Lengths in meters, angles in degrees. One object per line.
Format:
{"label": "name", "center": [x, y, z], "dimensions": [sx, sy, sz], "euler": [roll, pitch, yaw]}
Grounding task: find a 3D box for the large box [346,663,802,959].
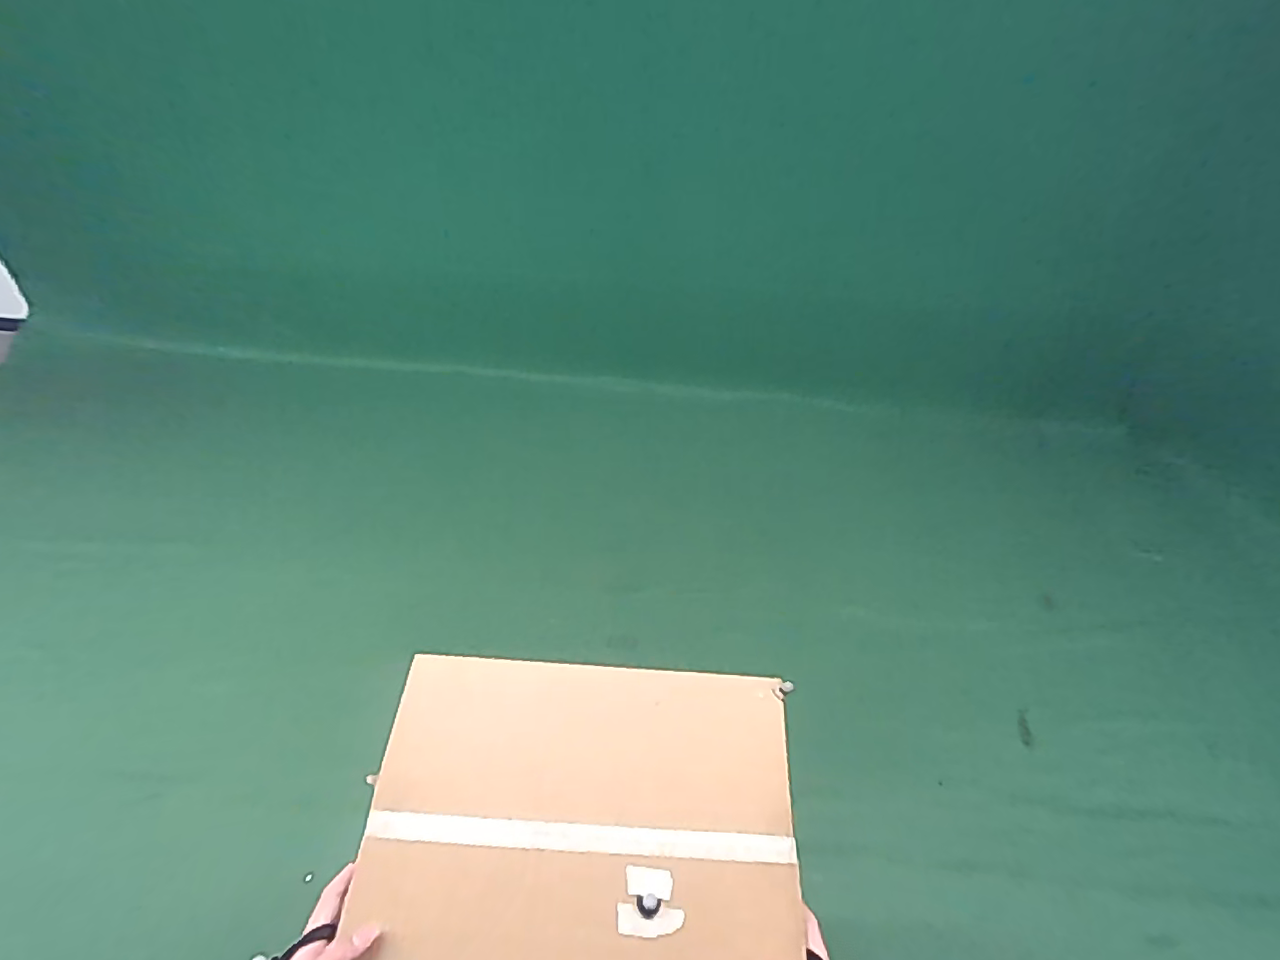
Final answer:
{"label": "large box", "center": [-0.060, 0.422, 0.643], "dimensions": [0.408, 0.320, 0.320], "euler": [4, 58, -1]}
